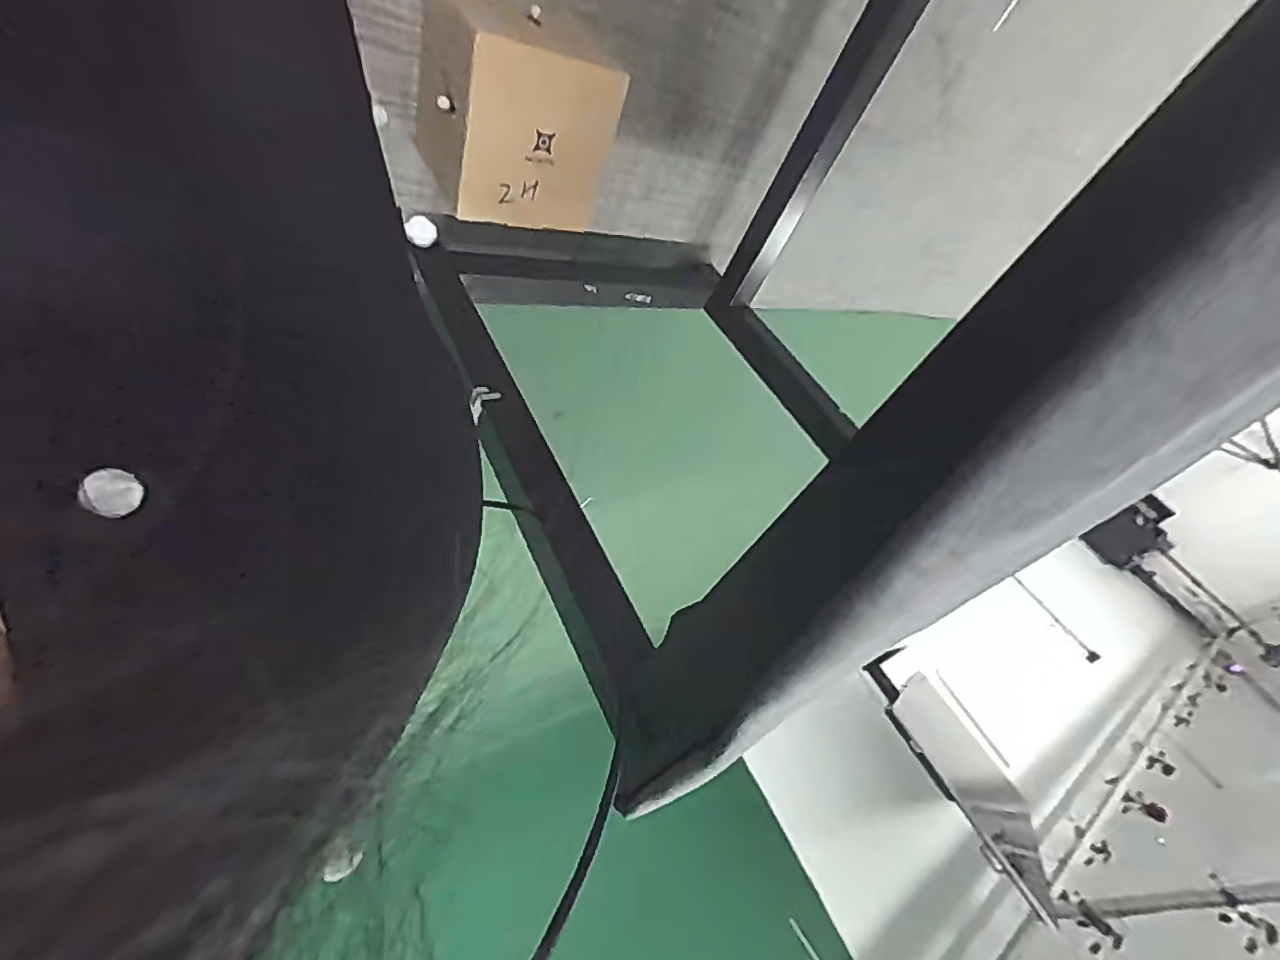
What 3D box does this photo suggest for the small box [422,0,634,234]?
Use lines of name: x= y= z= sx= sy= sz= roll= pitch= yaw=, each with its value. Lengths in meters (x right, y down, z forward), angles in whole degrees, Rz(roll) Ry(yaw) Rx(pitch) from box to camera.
small box: x=-0.137 y=-0.409 z=0.609 sx=0.168 sy=0.176 sz=0.179 roll=-11 pitch=147 yaw=-33
